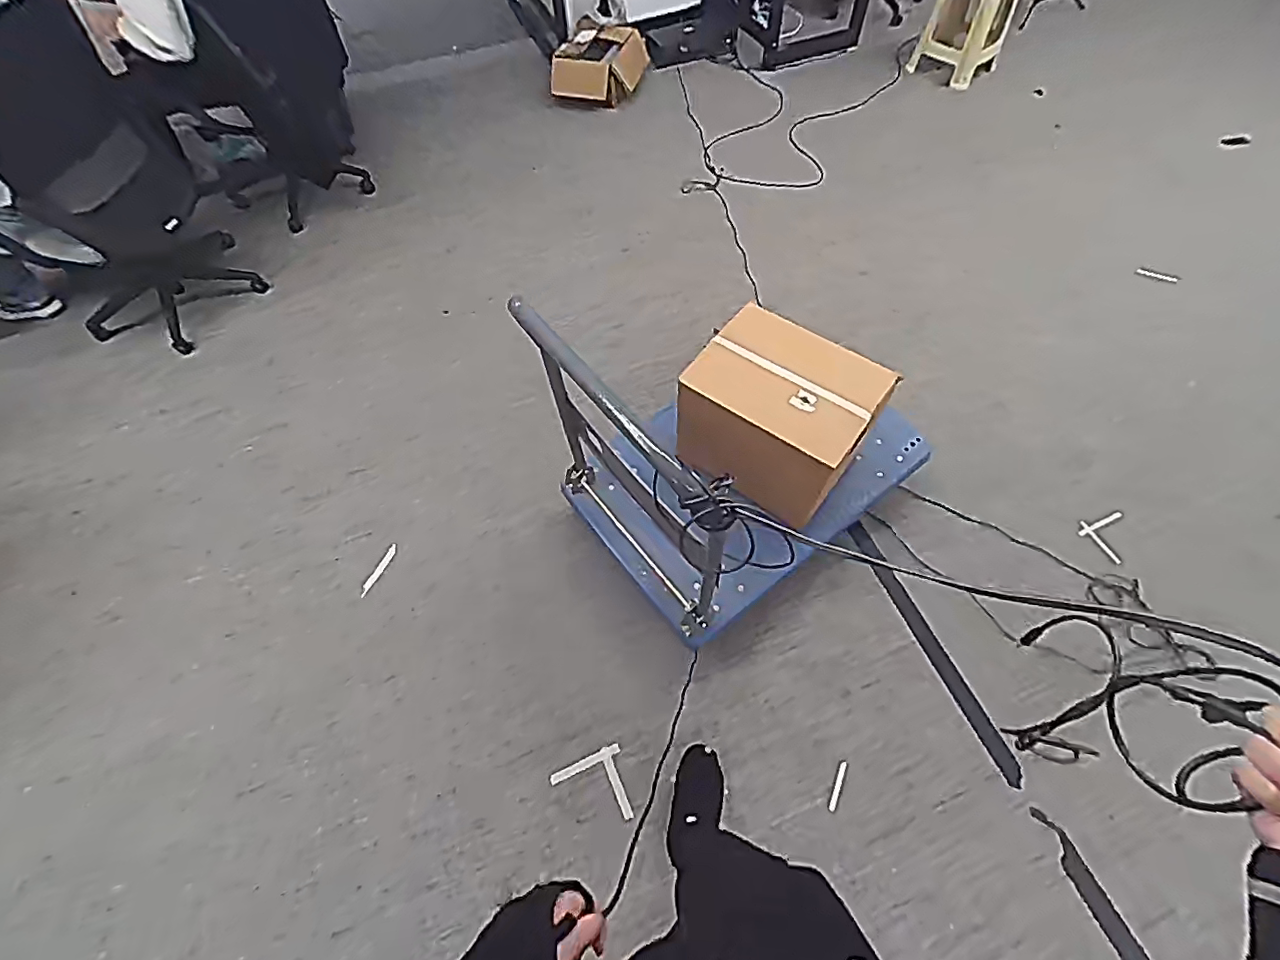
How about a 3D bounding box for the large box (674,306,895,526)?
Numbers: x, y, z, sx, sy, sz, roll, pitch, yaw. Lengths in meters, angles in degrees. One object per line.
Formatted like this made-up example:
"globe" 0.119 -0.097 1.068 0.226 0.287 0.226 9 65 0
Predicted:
"large box" 0.334 -0.157 1.357 0.408 0.320 0.320 33 67 19
